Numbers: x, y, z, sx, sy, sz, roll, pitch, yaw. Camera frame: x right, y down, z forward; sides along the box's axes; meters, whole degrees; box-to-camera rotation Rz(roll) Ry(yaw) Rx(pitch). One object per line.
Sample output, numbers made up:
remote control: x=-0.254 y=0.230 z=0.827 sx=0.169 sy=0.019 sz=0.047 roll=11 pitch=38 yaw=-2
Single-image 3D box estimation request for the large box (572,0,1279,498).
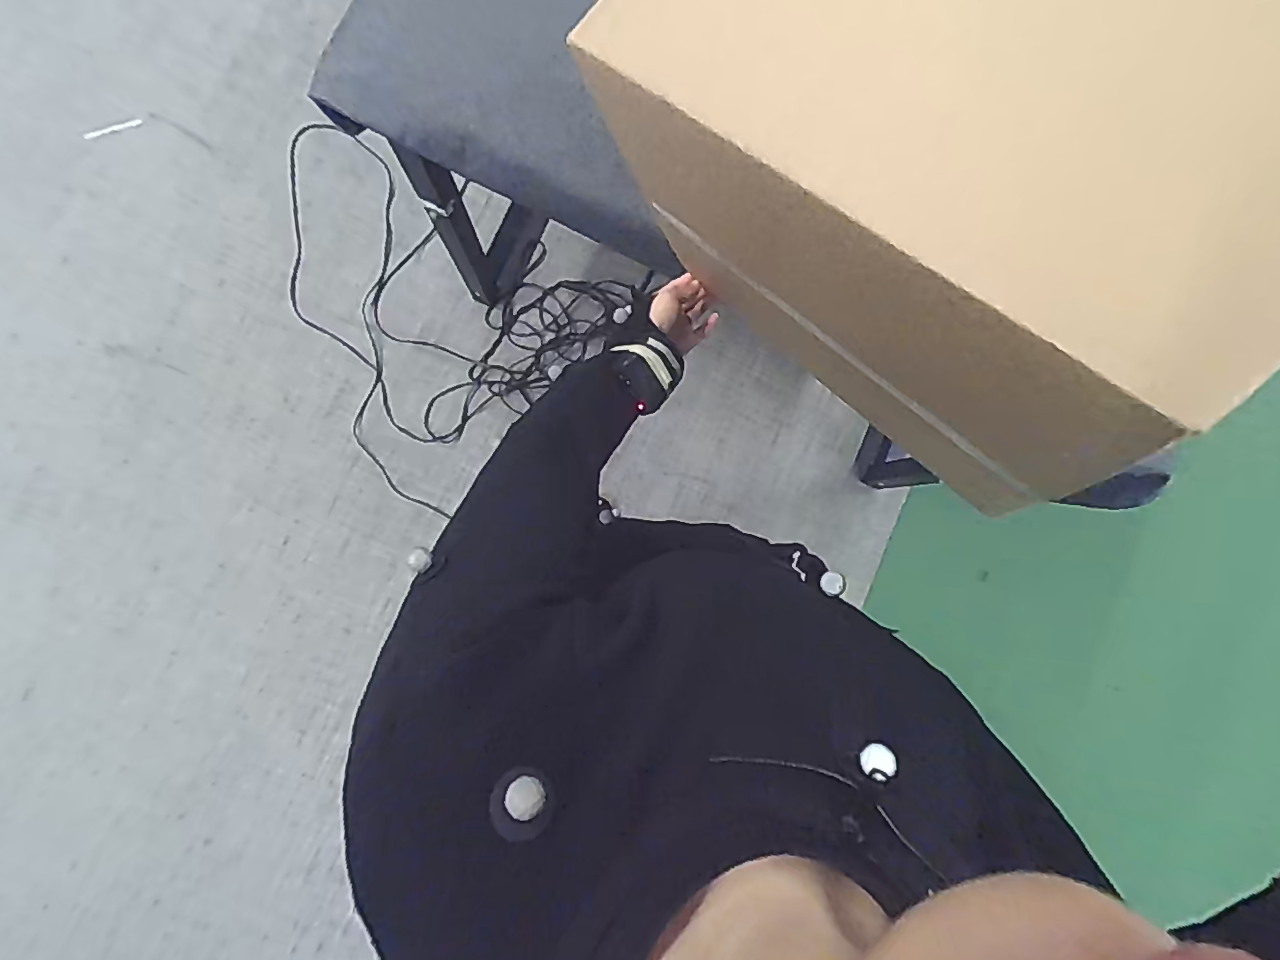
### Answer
large box: x=0.233 y=-0.237 z=0.394 sx=0.320 sy=0.320 sz=0.408 roll=-48 pitch=68 yaw=8
